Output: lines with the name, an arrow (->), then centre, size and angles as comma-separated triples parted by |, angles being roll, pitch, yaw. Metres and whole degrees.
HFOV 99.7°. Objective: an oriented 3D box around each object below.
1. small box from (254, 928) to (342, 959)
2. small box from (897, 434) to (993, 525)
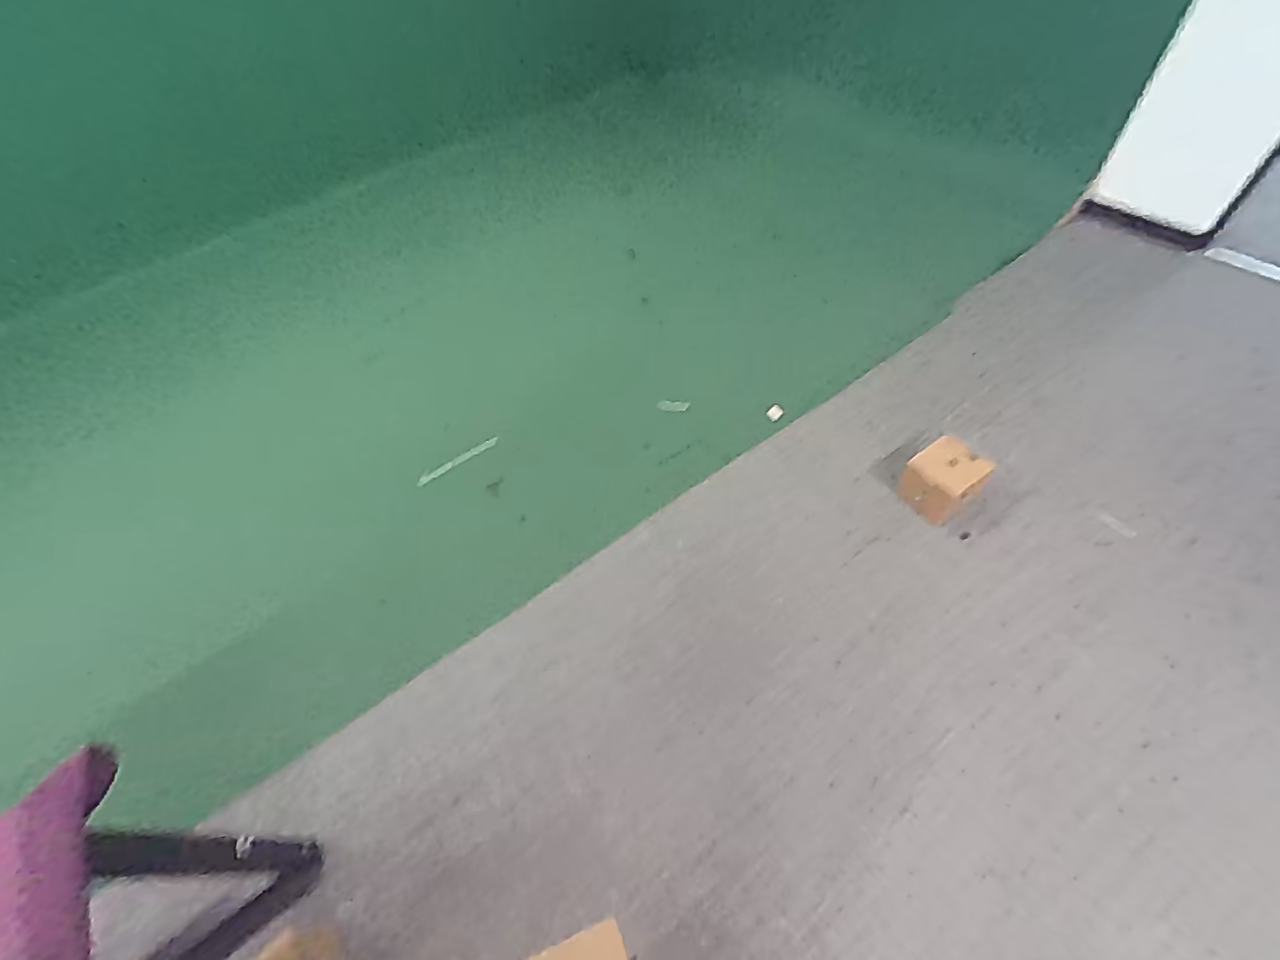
small box -> -0.719, 1.057, 1.095 | 0.179, 0.176, 0.168 | -37, 57, -17
small box -> 0.899, 0.003, 1.618 | 0.179, 0.176, 0.168 | -32, 56, -14
